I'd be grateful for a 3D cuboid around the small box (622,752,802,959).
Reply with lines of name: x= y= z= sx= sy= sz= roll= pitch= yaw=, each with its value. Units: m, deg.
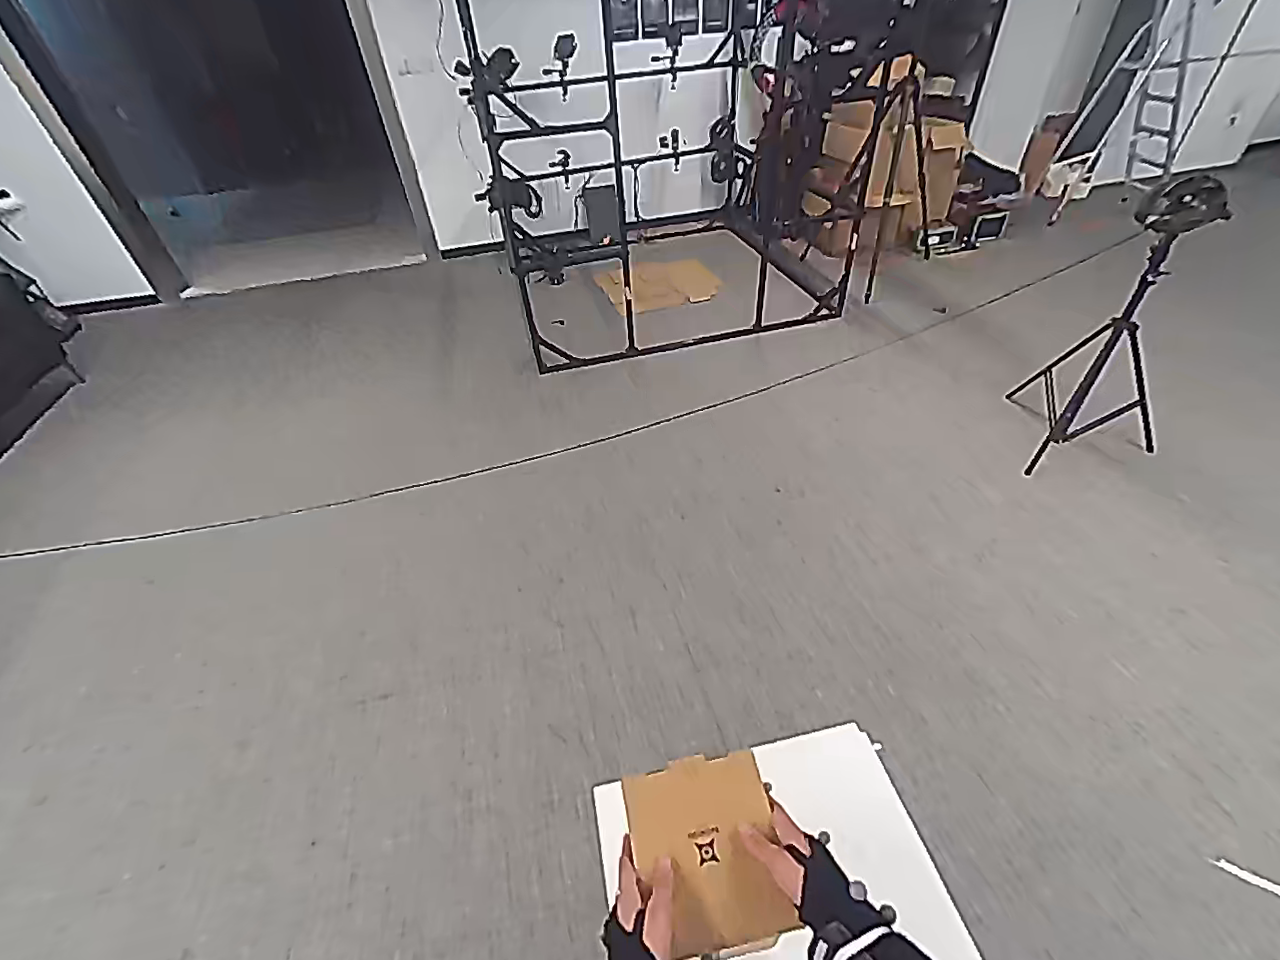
small box: x=0.078 y=0.458 z=0.655 sx=0.168 sy=0.176 sz=0.179 roll=-11 pitch=49 yaw=-5
